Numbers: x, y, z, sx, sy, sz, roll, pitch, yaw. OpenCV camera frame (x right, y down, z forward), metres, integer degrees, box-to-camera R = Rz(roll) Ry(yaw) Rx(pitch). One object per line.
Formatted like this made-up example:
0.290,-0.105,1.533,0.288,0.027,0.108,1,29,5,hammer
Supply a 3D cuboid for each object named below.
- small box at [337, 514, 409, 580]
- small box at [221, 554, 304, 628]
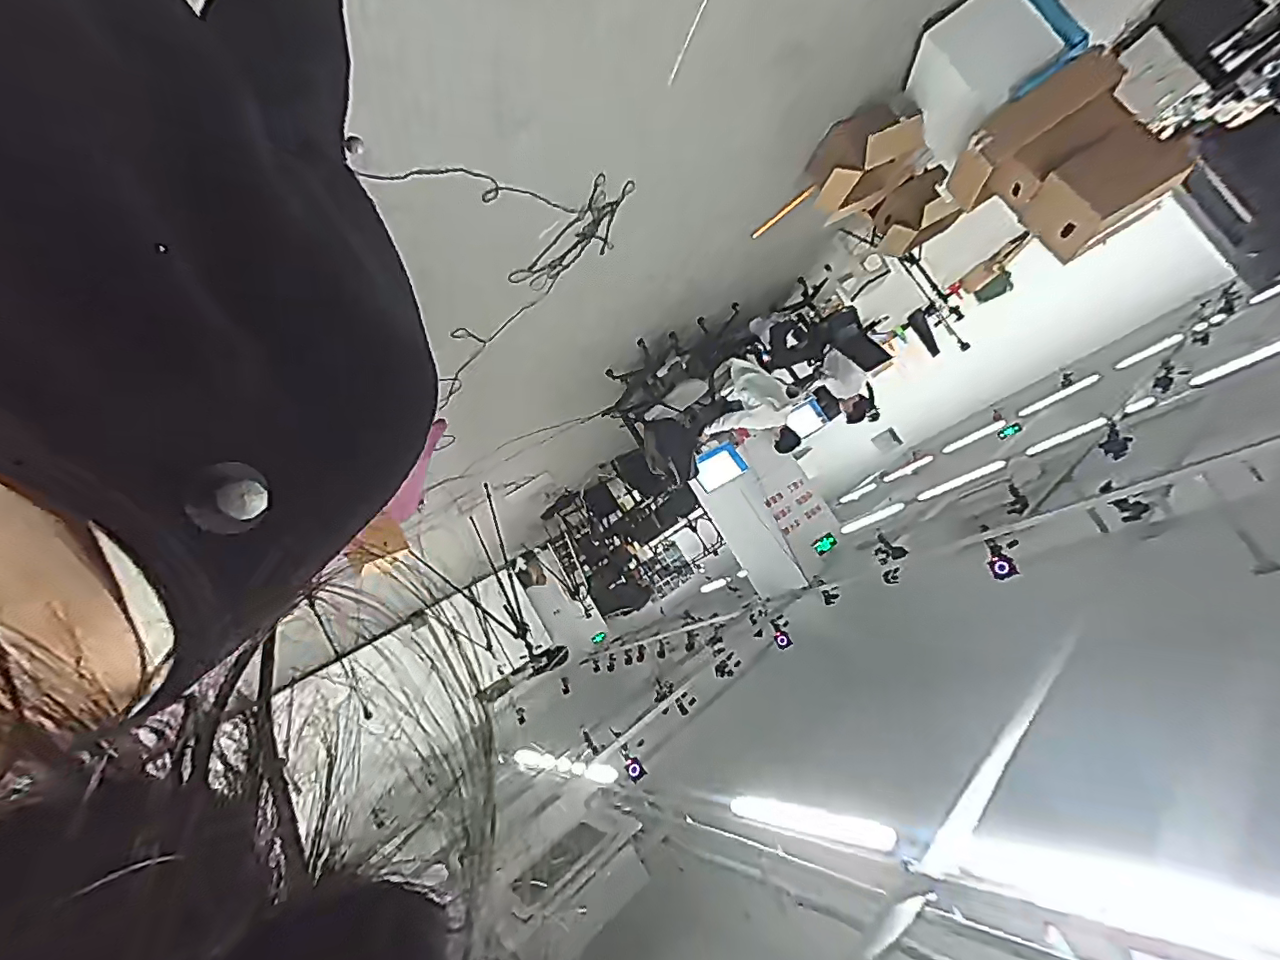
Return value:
-1.036,0.255,2.094,0.179,0.176,0.168,-23,167,-46,small box
-1.296,0.379,1.861,0.179,0.176,0.168,-28,170,-34,small box
